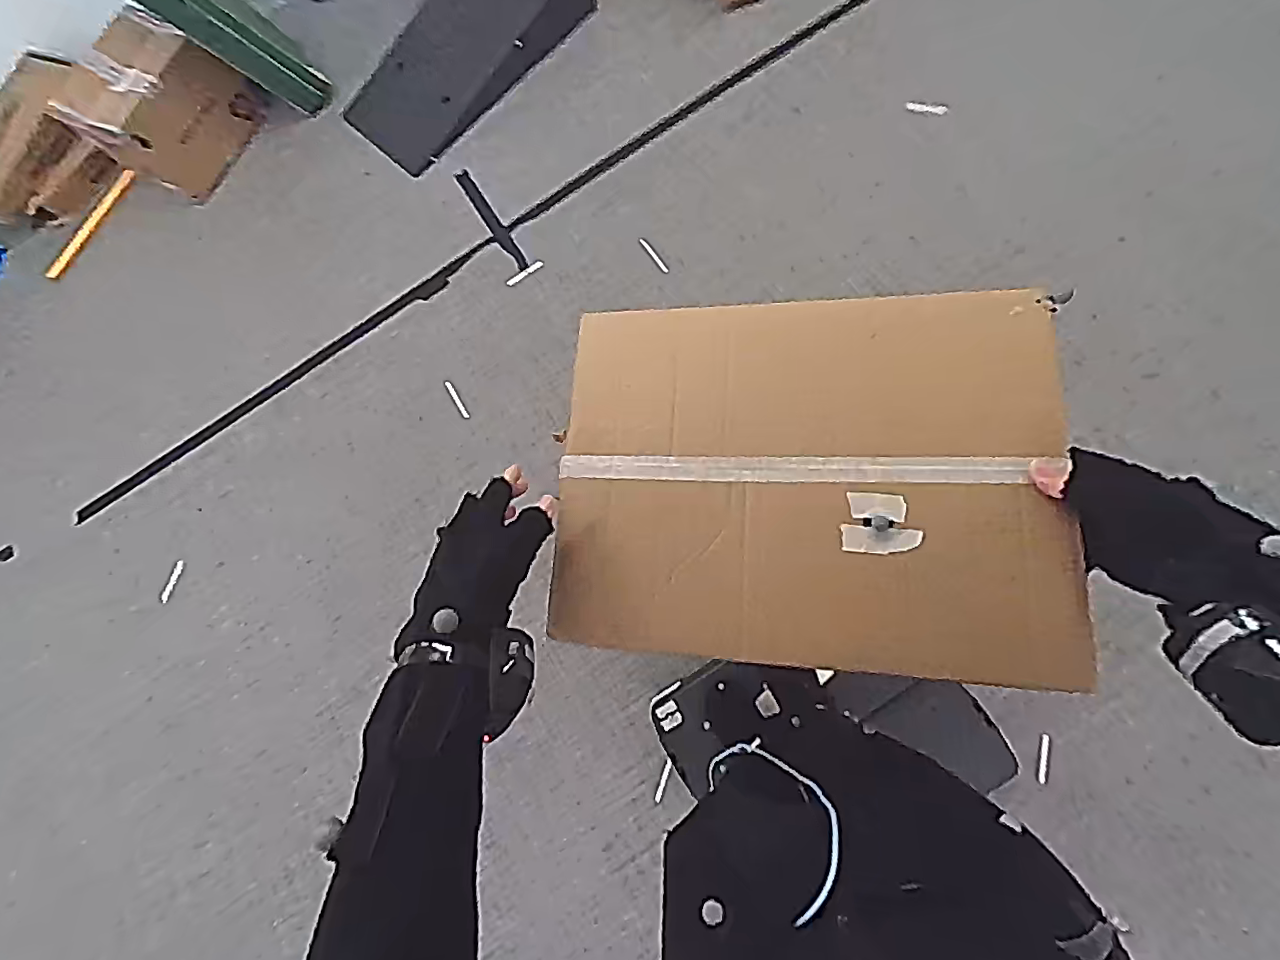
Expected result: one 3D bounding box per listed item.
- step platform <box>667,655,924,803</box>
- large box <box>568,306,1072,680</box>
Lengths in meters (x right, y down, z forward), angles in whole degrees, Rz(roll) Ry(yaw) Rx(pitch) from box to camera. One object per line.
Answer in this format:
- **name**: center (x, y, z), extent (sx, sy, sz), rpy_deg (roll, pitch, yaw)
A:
- **step platform**: center (0.401, 0.467, 1.327), extent (0.684, 0.204, 0.286), rpy_deg (-35, 73, -2)
- **large box**: center (0.169, 0.033, 0.617), extent (0.408, 0.320, 0.320), rpy_deg (1, 77, 15)
